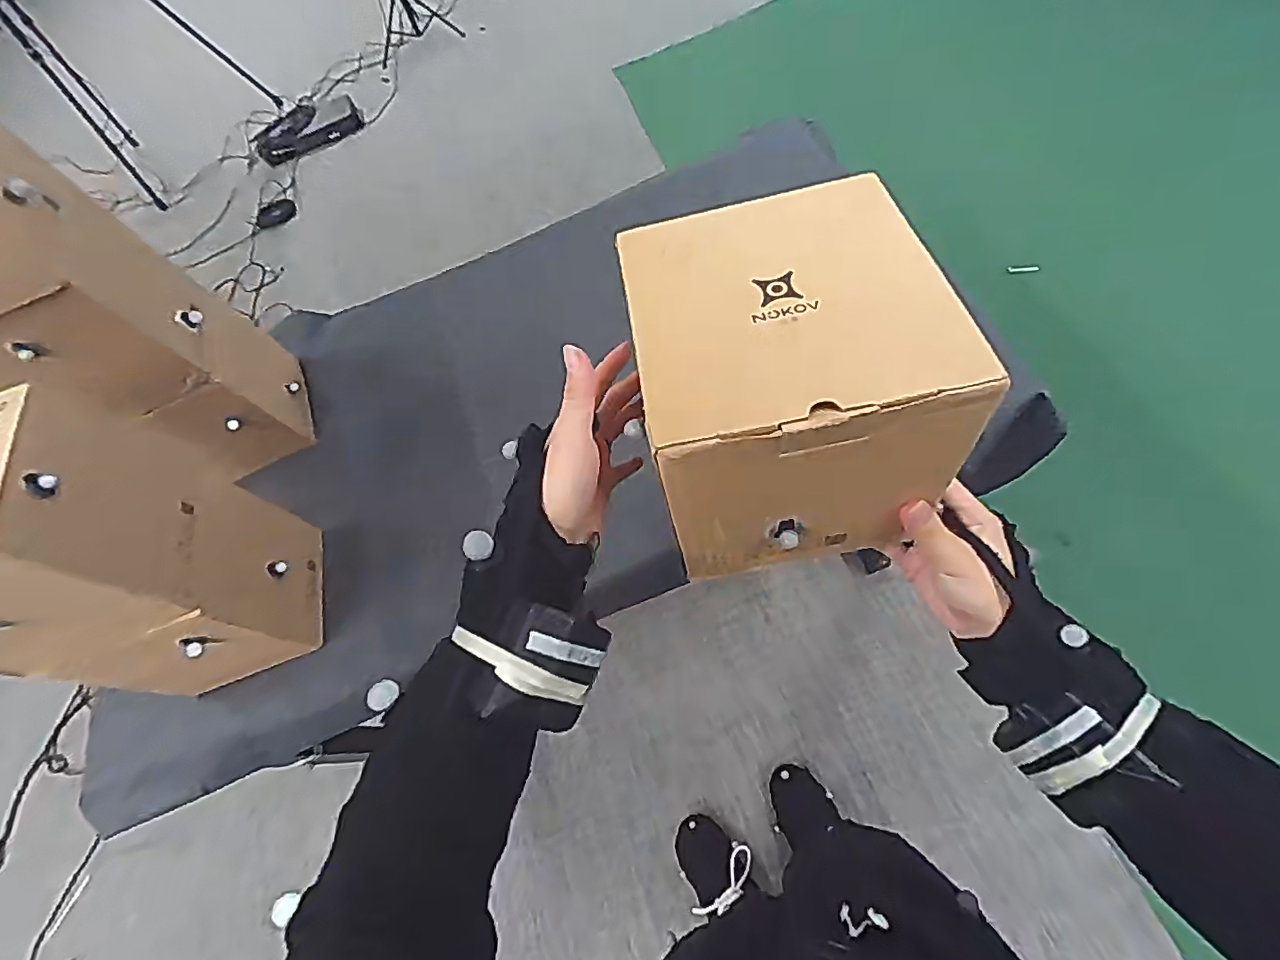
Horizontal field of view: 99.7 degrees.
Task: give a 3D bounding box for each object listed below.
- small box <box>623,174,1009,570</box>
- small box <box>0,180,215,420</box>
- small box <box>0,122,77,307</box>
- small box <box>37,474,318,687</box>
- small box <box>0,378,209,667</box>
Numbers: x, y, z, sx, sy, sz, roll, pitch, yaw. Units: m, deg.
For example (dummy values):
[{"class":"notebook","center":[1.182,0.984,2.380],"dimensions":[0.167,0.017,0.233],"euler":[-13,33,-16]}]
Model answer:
[{"class":"small box","center":[0.089,-0.061,0.361],"dimensions":[0.168,0.176,0.179],"euler":[-12,59,4]},{"class":"small box","center":[-0.635,-0.187,0.614],"dimensions":[0.179,0.176,0.168],"euler":[-25,65,-2]},{"class":"small box","center":[-0.658,-0.246,0.462],"dimensions":[0.179,0.176,0.168],"euler":[-24,65,-1]},{"class":"small box","center":[-0.501,0.123,0.620],"dimensions":[0.179,0.176,0.168],"euler":[-21,60,2]},{"class":"small box","center":[-0.538,0.049,0.479],"dimensions":[0.179,0.176,0.168],"euler":[-24,61,0]}]
